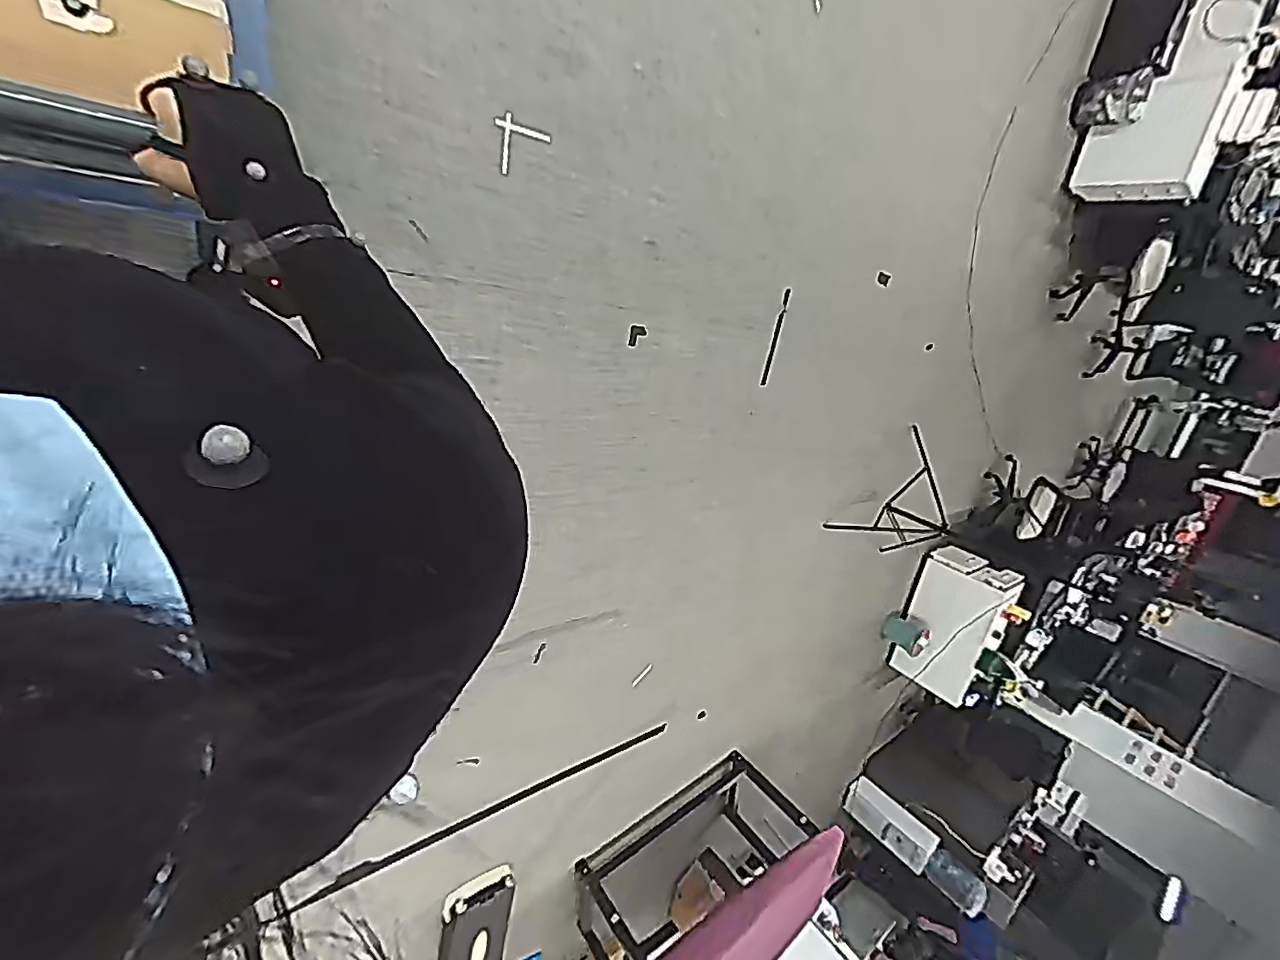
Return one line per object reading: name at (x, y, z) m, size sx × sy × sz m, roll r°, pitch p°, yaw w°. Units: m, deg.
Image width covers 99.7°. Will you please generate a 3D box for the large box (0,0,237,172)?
large box at (-0.764, -0.599, 0.653) m, size 0.408 × 0.320 × 0.320 m, roll -8°, pitch 115°, yaw -39°
